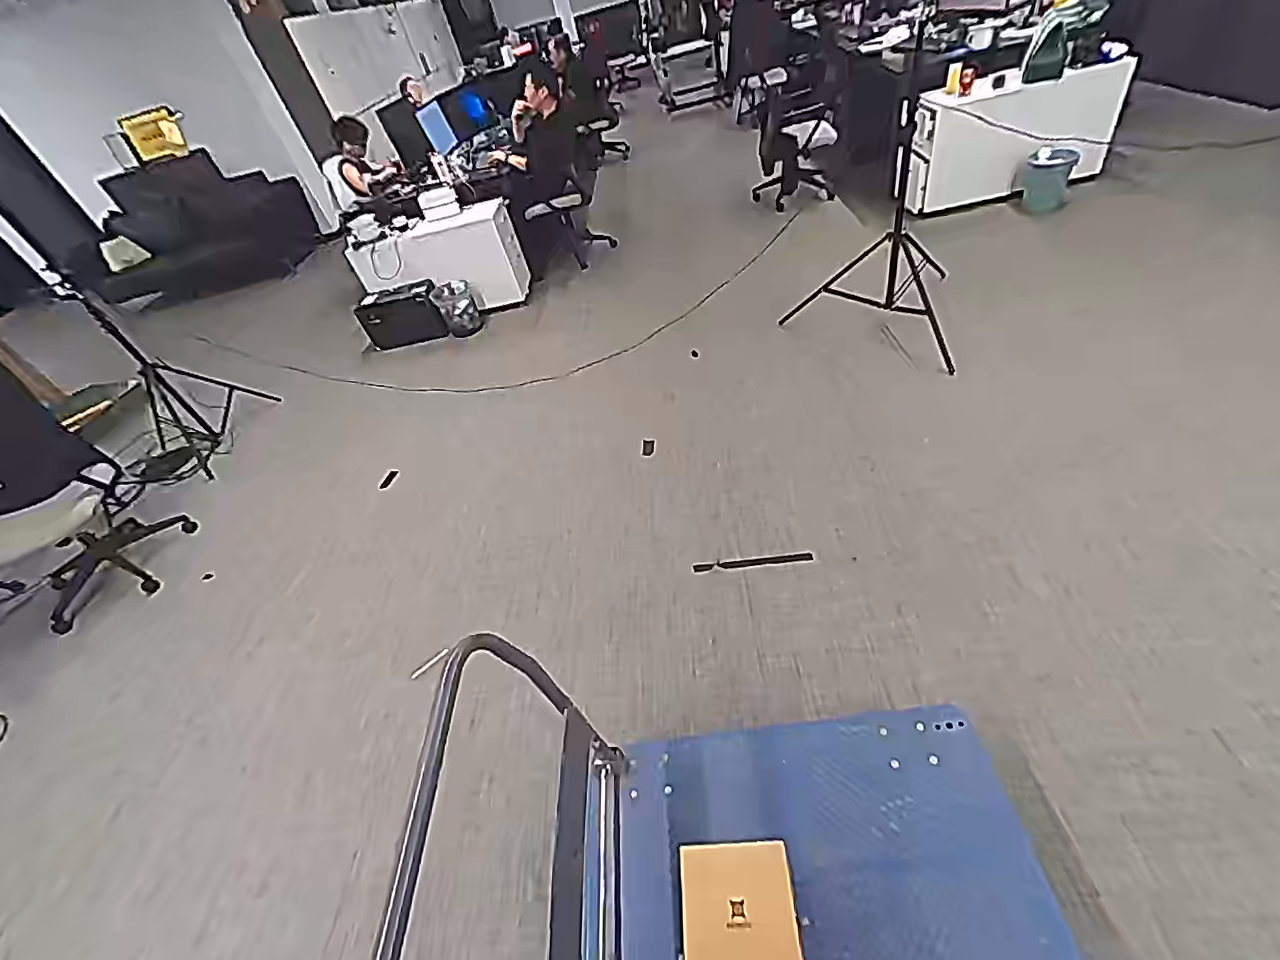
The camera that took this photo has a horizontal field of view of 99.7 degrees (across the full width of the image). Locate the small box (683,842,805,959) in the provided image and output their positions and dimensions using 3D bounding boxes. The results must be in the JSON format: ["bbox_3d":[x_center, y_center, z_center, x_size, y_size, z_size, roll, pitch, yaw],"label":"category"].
[{"bbox_3d":[0.161,0.687,0.839,0.168,0.176,0.179,-9,44,8],"label":"small box"}]
